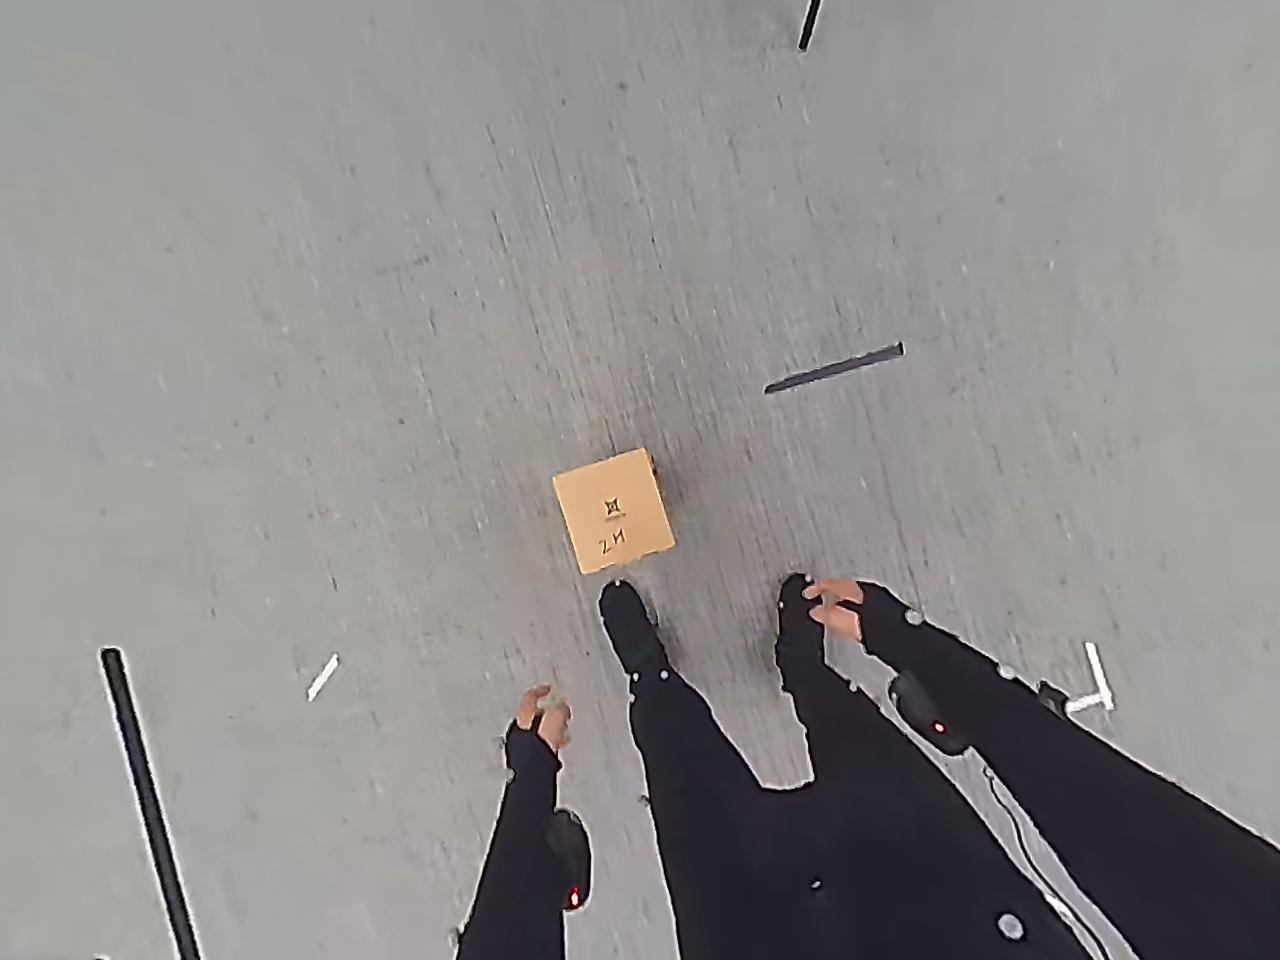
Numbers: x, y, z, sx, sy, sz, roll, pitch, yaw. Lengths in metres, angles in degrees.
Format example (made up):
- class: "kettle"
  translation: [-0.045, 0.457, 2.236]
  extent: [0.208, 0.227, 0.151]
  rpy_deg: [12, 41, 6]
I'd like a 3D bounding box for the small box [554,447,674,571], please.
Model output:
- class: "small box"
  translation: [-0.043, 0.050, 0.983]
  extent: [0.168, 0.176, 0.179]
  rpy_deg: [-17, 90, 2]
